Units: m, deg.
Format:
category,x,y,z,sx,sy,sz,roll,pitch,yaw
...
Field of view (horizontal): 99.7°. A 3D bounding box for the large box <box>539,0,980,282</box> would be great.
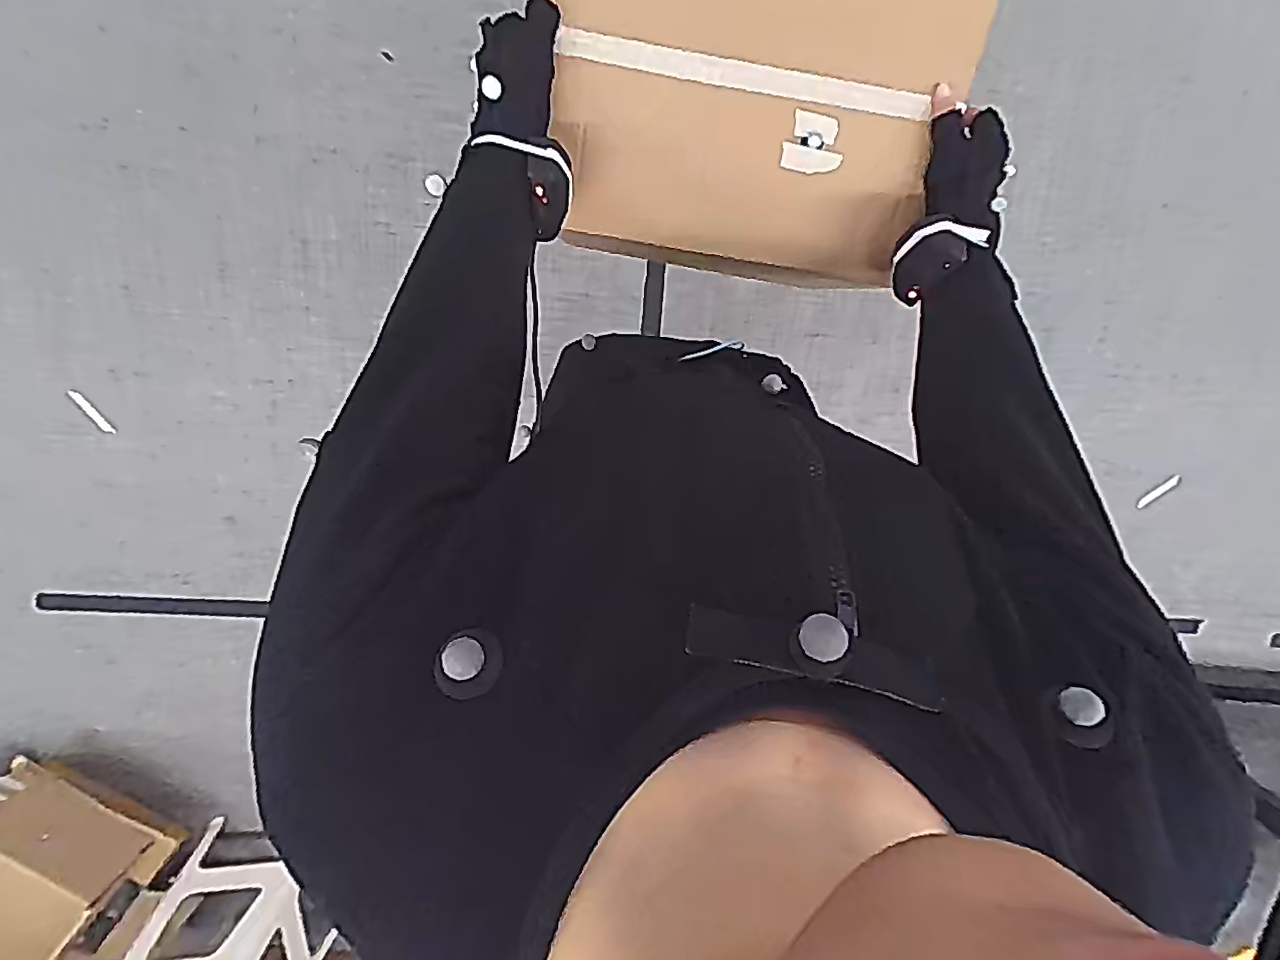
category,x,y,z,sx,sy,sz,roll,pitch,yaw
large box,0.105,-0.434,0.666,0.408,0.320,0.320,8,110,-4
